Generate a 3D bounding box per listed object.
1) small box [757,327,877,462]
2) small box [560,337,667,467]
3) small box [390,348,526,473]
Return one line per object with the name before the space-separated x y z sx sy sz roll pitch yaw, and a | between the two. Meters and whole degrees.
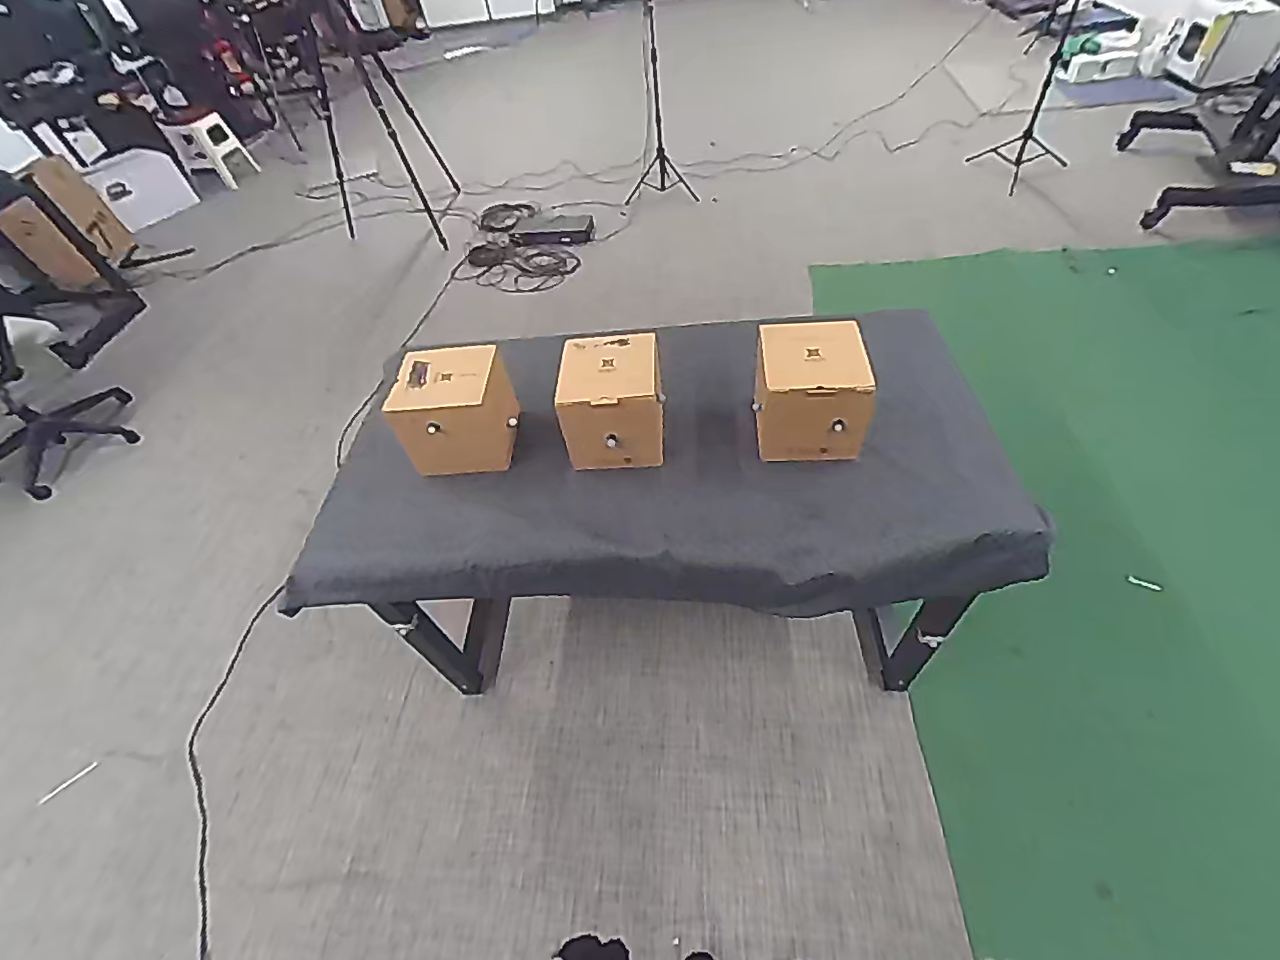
small box | 0.298 -0.145 0.950 0.168 0.176 0.179 0 49 6
small box | -0.039 -0.135 0.987 0.168 0.176 0.179 -2 50 6
small box | -0.330 -0.126 1.019 0.179 0.176 0.168 -3 50 4
